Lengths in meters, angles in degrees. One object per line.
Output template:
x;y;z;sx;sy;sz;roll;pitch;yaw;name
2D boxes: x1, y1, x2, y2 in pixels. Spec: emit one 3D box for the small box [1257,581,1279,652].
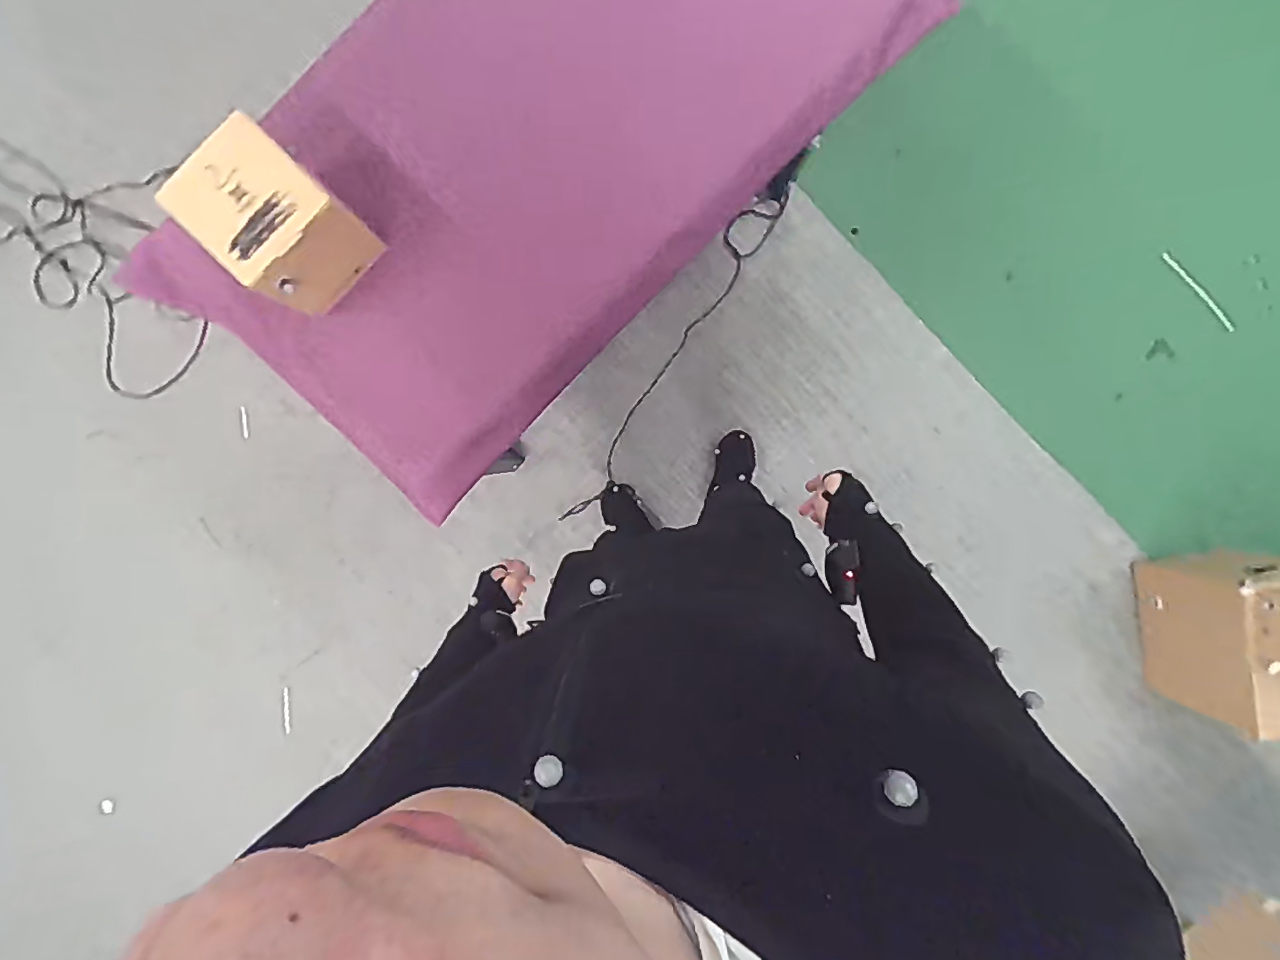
1.615;0.332;1.264;0.179;0.176;0.168;-6;93;0;small box
